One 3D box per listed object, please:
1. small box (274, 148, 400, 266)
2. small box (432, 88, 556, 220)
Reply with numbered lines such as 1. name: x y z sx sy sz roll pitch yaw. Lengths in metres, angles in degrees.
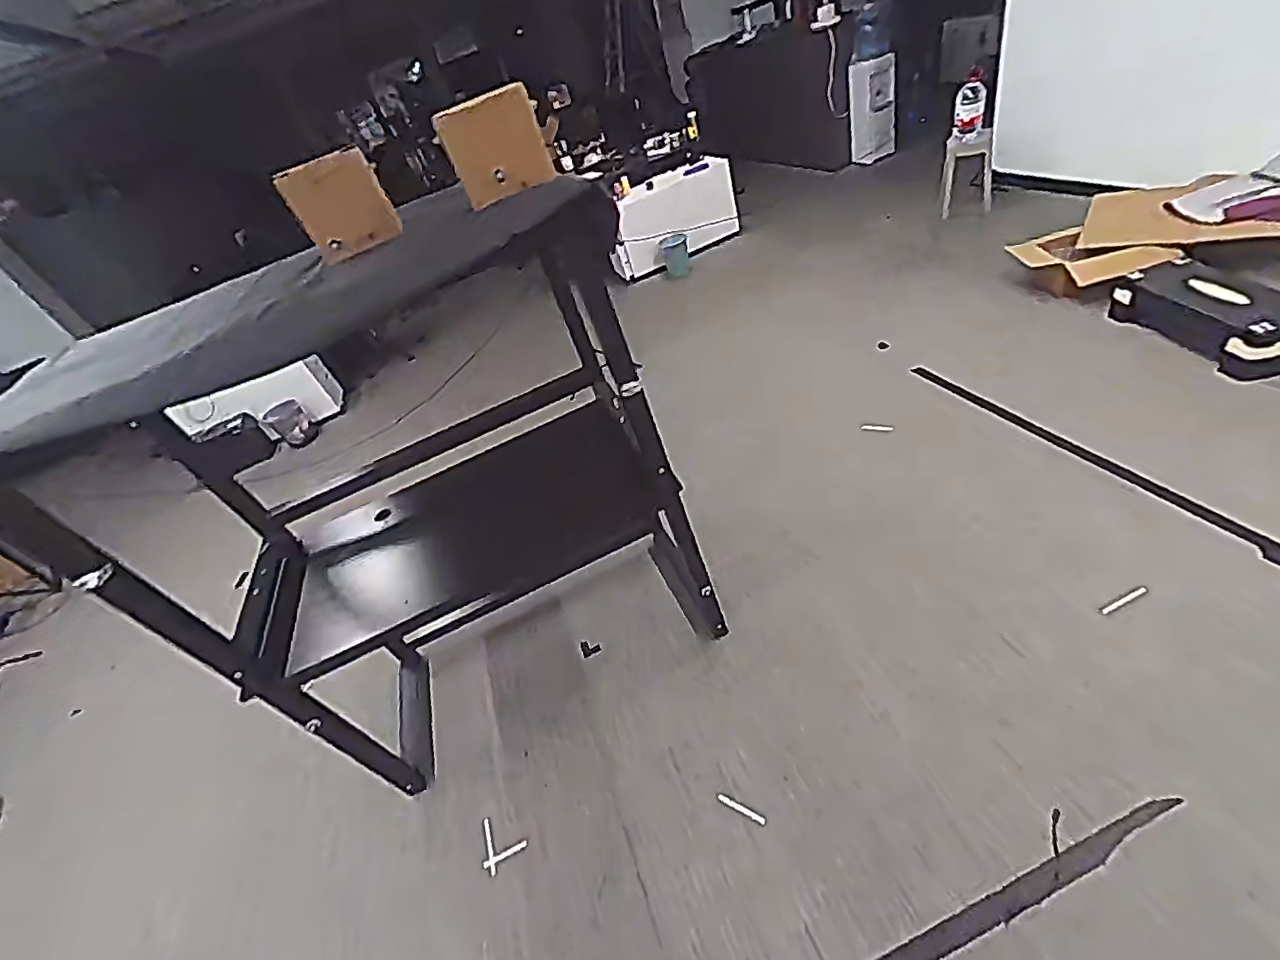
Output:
1. small box: -0.626 -0.573 1.139 0.168 0.176 0.179 -27 38 -8
2. small box: -0.273 -0.615 1.025 0.168 0.176 0.179 -23 39 -1
